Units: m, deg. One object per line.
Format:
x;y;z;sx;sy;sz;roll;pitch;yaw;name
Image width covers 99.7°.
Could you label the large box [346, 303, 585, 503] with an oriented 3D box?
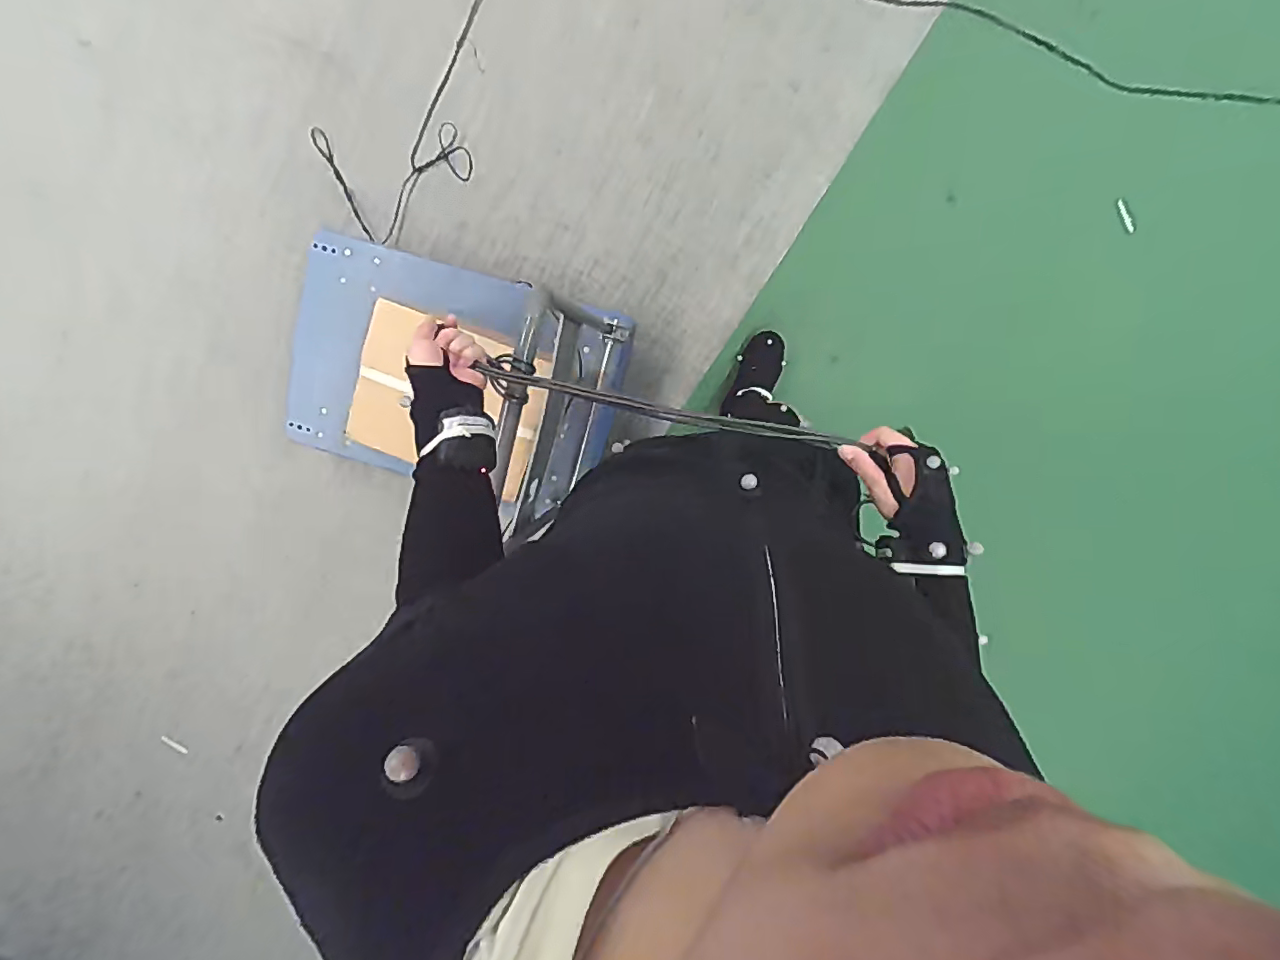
-0.384;-0.186;1.273;0.408;0.320;0.320;21;102;1;large box
